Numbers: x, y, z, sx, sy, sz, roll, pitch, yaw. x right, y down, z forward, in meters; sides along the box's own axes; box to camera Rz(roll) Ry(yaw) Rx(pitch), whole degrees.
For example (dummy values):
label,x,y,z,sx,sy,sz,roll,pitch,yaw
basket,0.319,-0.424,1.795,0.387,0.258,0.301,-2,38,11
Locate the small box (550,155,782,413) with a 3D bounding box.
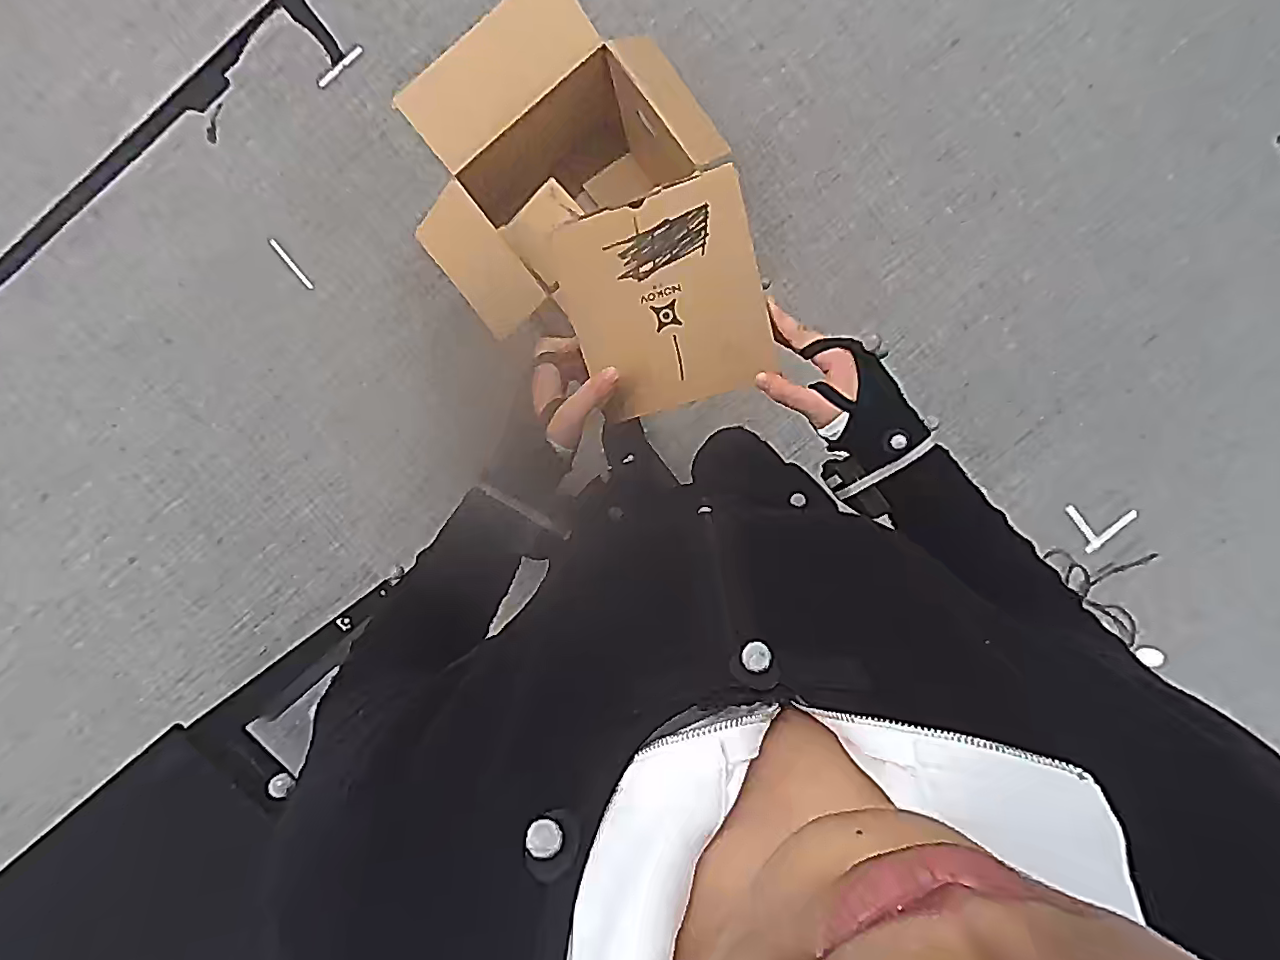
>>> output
label,x,y,z,sx,sy,sz,roll,pitch,yaw
small box,0.031,-0.183,0.536,0.168,0.176,0.179,-14,107,11
